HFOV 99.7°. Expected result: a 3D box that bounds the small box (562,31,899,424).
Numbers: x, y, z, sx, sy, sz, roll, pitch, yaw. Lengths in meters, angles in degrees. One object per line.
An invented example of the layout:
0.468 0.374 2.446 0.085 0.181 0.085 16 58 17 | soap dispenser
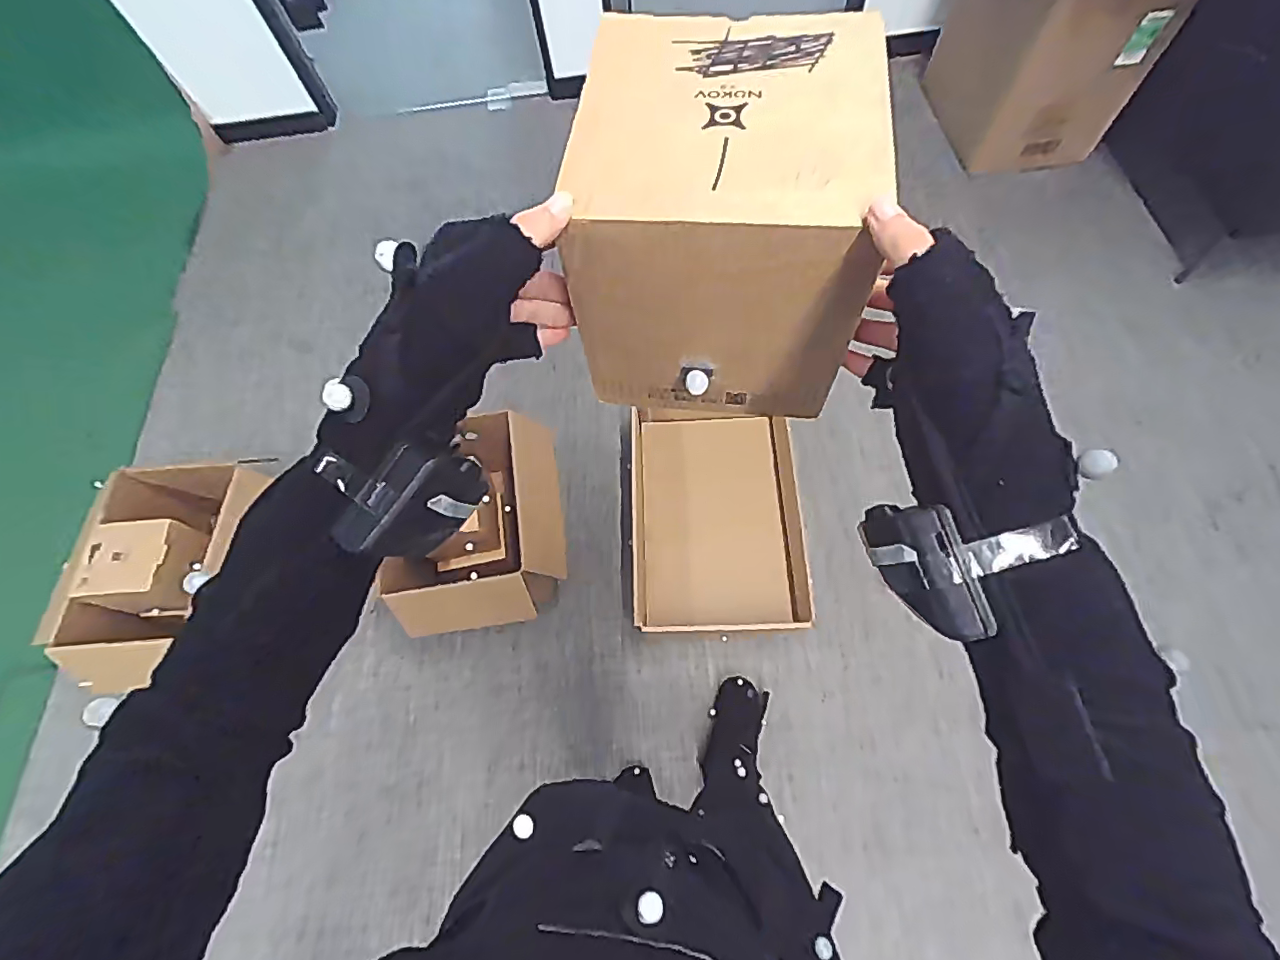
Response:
0.058 -0.161 0.367 0.168 0.176 0.179 5 65 8 | small box

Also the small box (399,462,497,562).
-0.432 0.081 1.237 0.168 0.176 0.179 -10 67 -1 | small box
